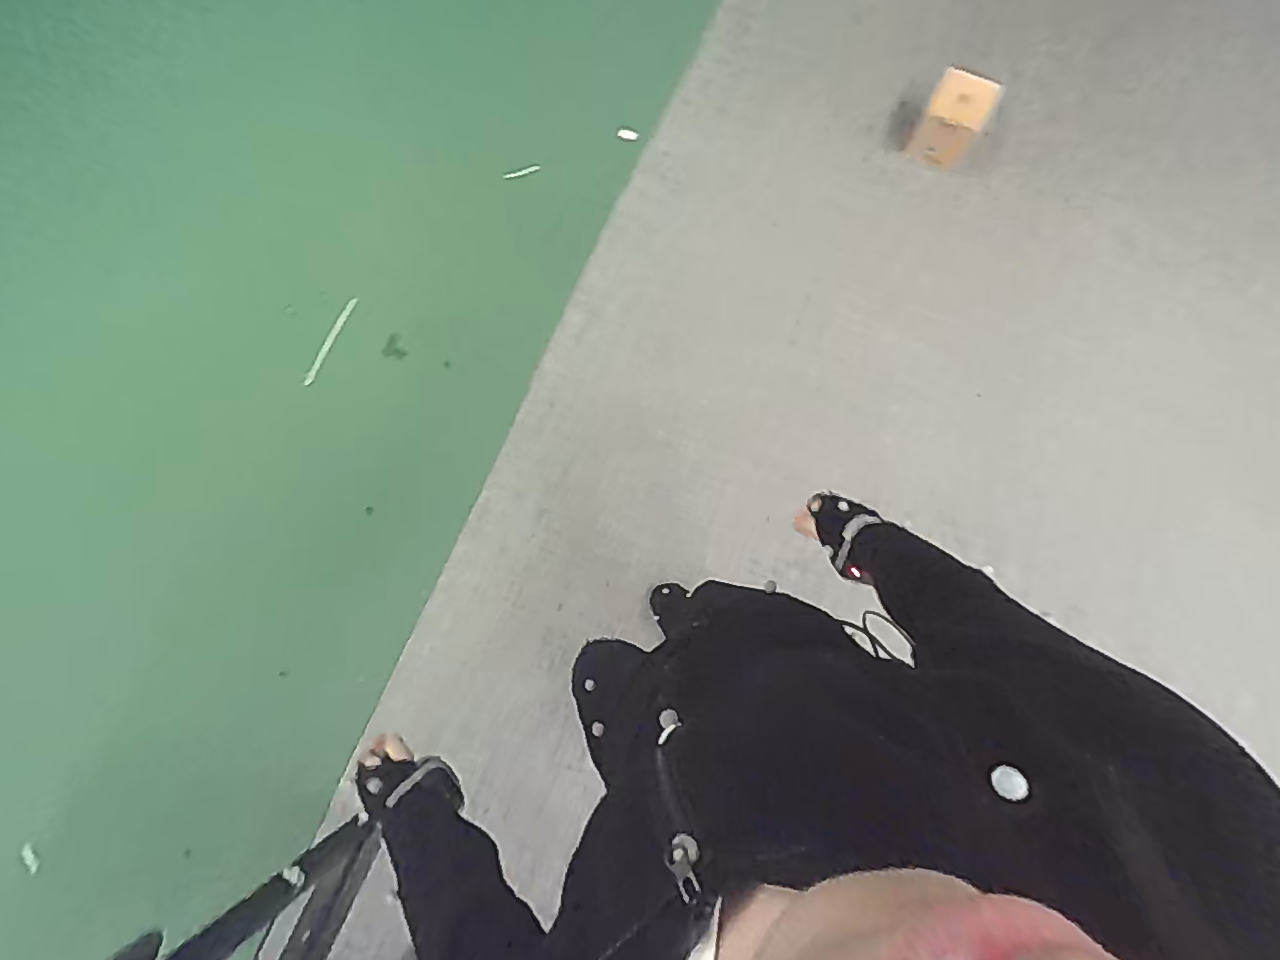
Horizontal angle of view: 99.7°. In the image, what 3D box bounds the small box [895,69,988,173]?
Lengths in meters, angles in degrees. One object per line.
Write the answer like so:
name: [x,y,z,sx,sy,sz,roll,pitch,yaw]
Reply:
small box: [0.922,-1.101,1.669,0.168,0.176,0.179,27,81,7]
